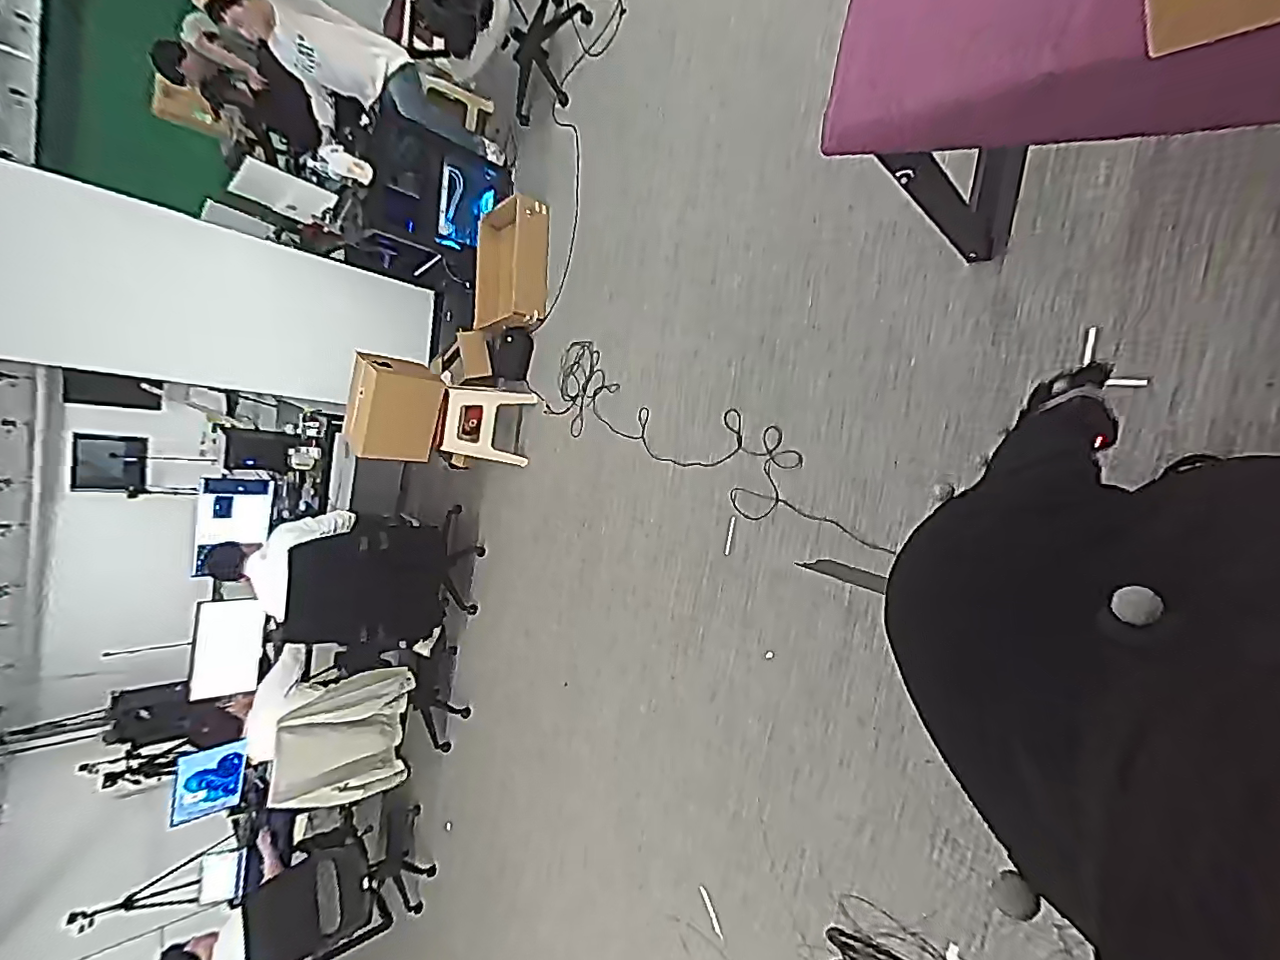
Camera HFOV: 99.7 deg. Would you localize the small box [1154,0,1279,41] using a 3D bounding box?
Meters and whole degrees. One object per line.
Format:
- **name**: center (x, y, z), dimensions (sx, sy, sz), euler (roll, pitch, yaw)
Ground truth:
- **small box**: center (0.602, -0.561, 0.491), dimensions (0.179, 0.176, 0.168), euler (13, 96, 47)
